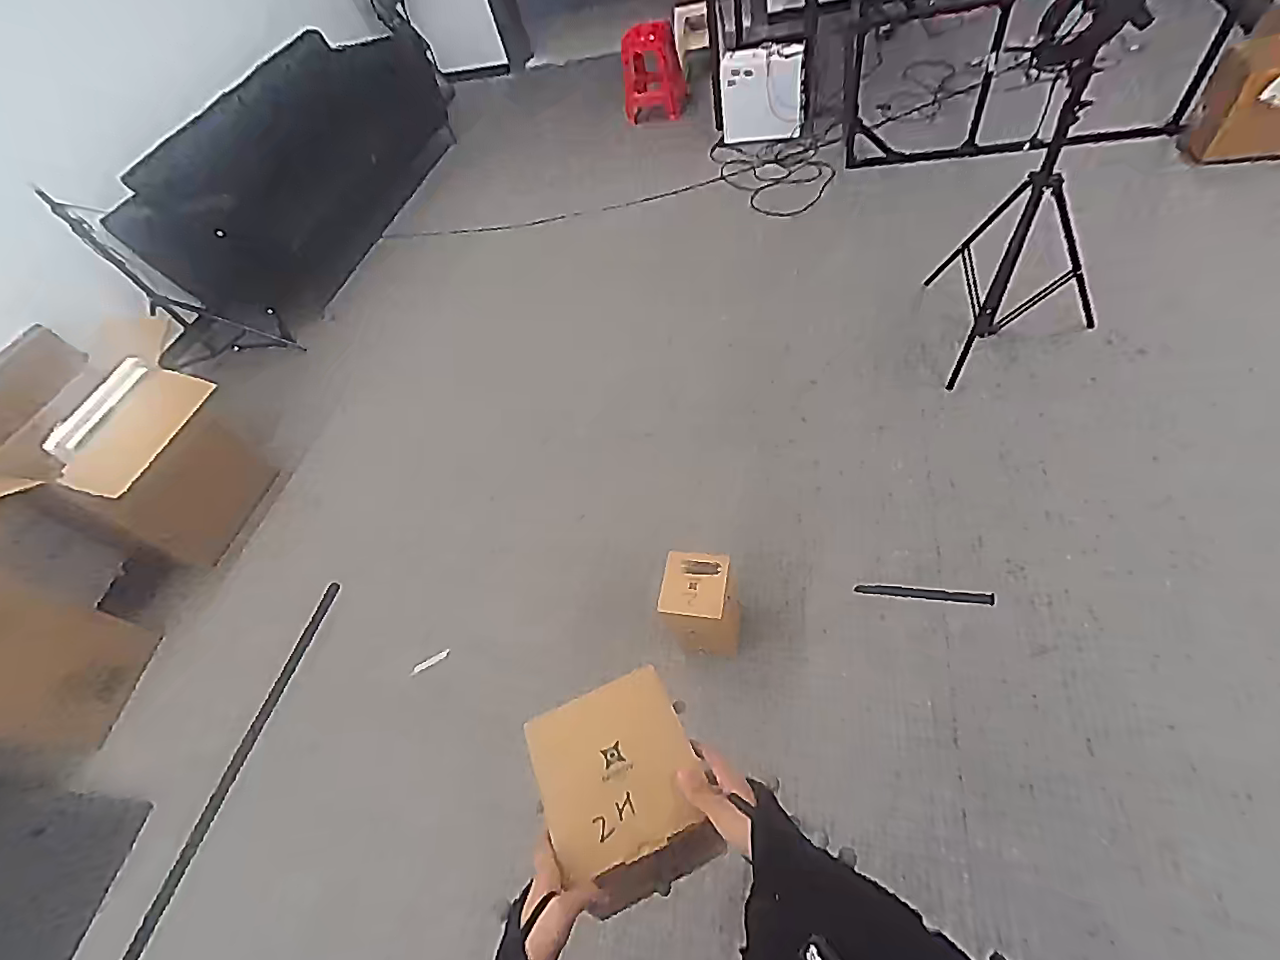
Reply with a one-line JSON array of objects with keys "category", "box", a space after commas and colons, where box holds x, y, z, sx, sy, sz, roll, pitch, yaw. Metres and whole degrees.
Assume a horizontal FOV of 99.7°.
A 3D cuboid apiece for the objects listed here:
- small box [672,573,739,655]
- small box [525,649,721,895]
[{"category": "small box", "box": [0.197, 0.390, 1.572, 0.168, 0.176, 0.179, 1, 55, 16]}, {"category": "small box", "box": [-0.018, 0.340, 0.634, 0.168, 0.176, 0.179, -22, 45, -10]}]
